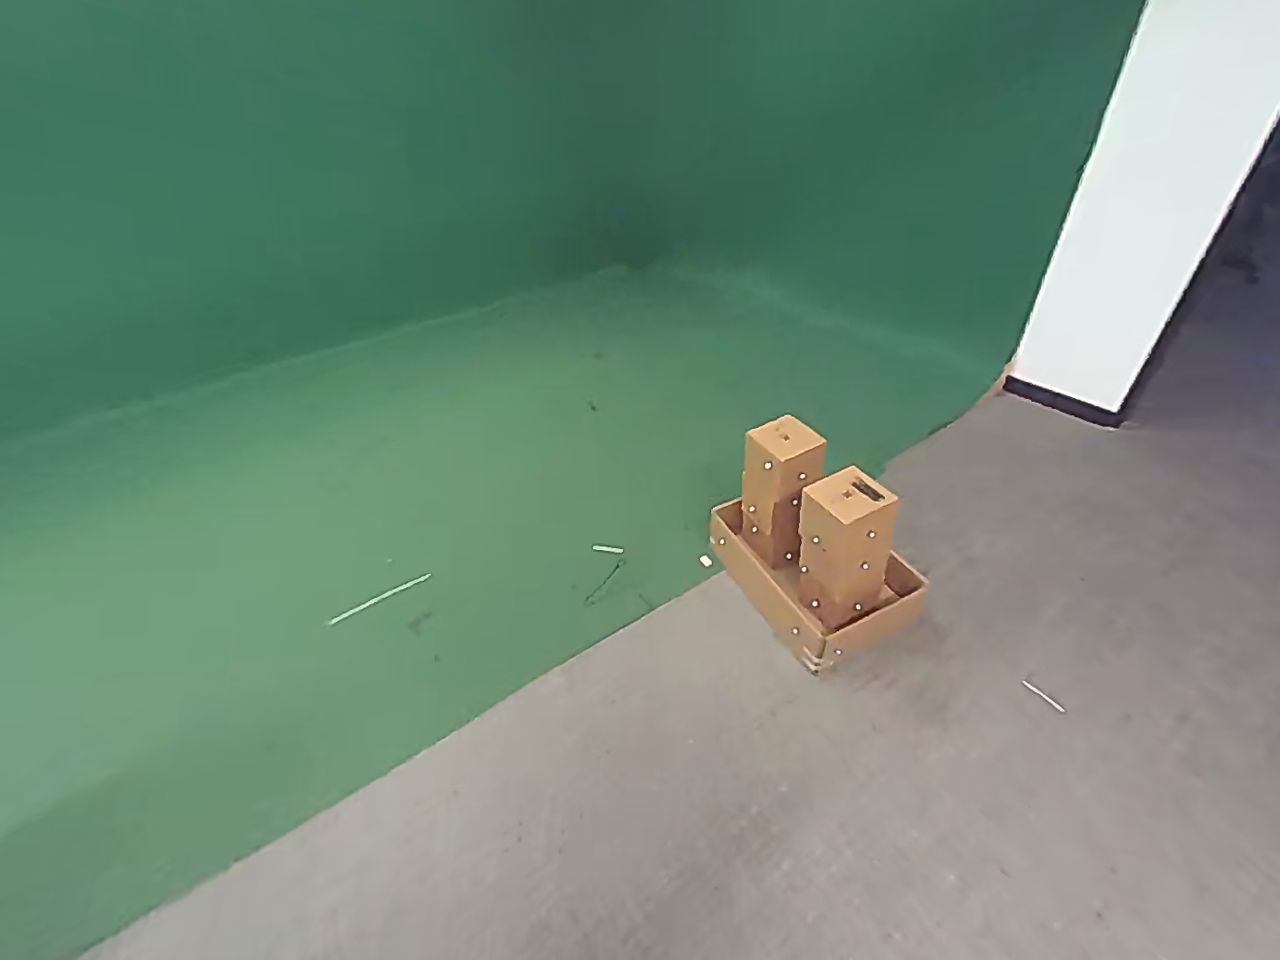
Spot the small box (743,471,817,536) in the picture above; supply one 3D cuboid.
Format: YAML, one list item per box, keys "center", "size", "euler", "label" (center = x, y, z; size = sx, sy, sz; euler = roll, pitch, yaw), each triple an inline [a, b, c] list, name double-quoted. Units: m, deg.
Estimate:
- center: [0.452, 0.053, 1.782]
  size: [0.179, 0.176, 0.168]
  euler: [-22, 42, -15]
  label: "small box"

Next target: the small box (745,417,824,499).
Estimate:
- center: [0.439, -0.062, 1.664]
  size: [0.168, 0.176, 0.179]
  euler: [-22, 43, -17]
  label: "small box"

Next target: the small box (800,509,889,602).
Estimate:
- center: [0.580, 0.219, 1.558]
  size: [0.179, 0.176, 0.168]
  euler: [-21, 41, -17]
  label: "small box"
